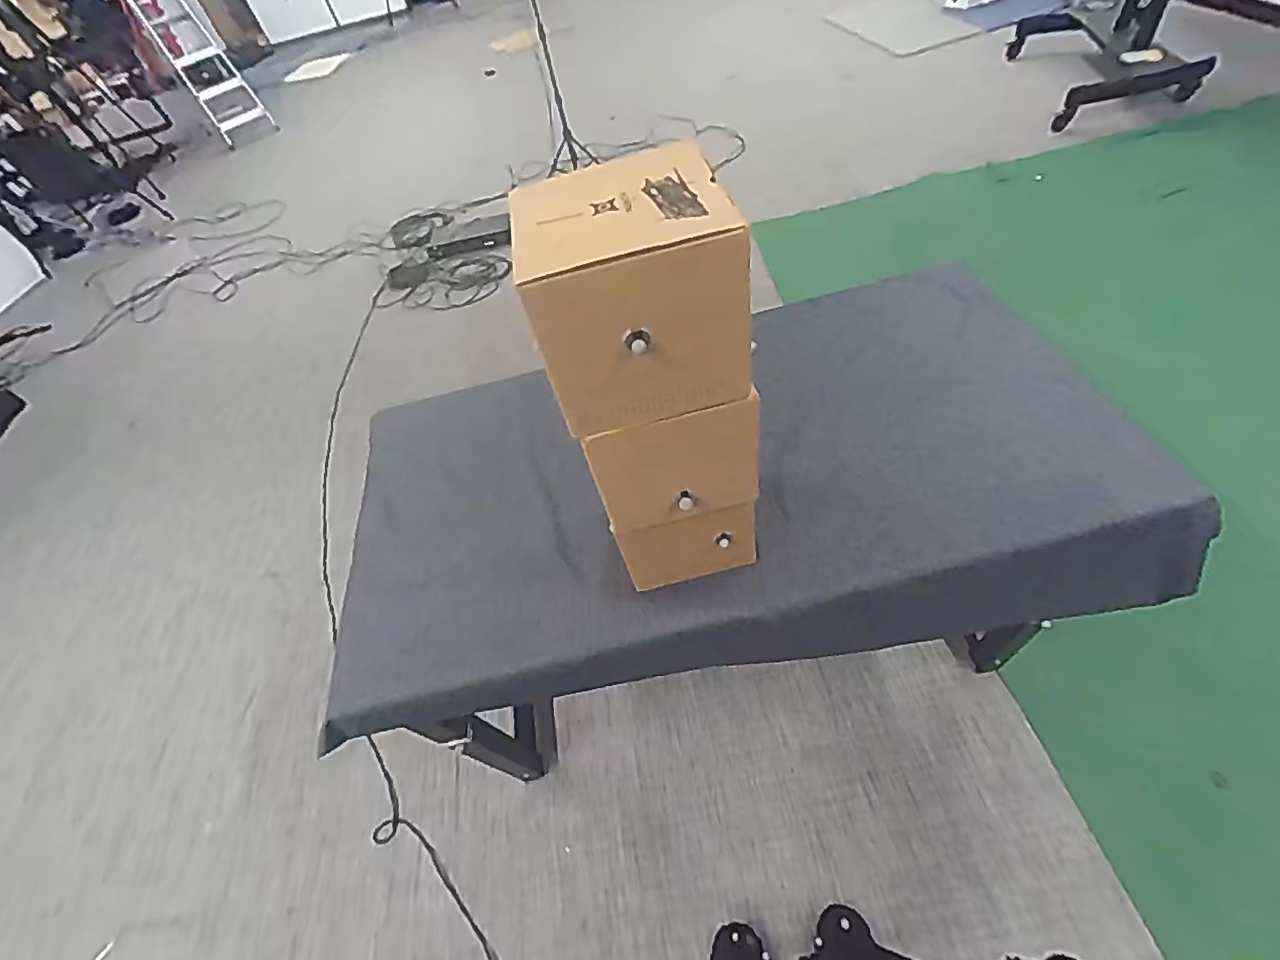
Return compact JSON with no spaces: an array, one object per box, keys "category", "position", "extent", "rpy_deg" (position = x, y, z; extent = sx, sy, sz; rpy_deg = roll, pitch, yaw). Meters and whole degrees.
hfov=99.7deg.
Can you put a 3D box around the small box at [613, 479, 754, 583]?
[{"category":"small box","position":[0.053,0.022,0.757],"extent":[0.179,0.176,0.168],"rpy_deg":[-16,51,2]}]

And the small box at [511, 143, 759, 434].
[{"category":"small box","position":[-0.004,-0.169,0.497],"extent":[0.179,0.176,0.168],"rpy_deg":[-15,52,-1]}]

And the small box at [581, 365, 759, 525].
[{"category":"small box","position":[0.028,-0.072,0.626],"extent":[0.179,0.176,0.168],"rpy_deg":[-14,51,1]}]
